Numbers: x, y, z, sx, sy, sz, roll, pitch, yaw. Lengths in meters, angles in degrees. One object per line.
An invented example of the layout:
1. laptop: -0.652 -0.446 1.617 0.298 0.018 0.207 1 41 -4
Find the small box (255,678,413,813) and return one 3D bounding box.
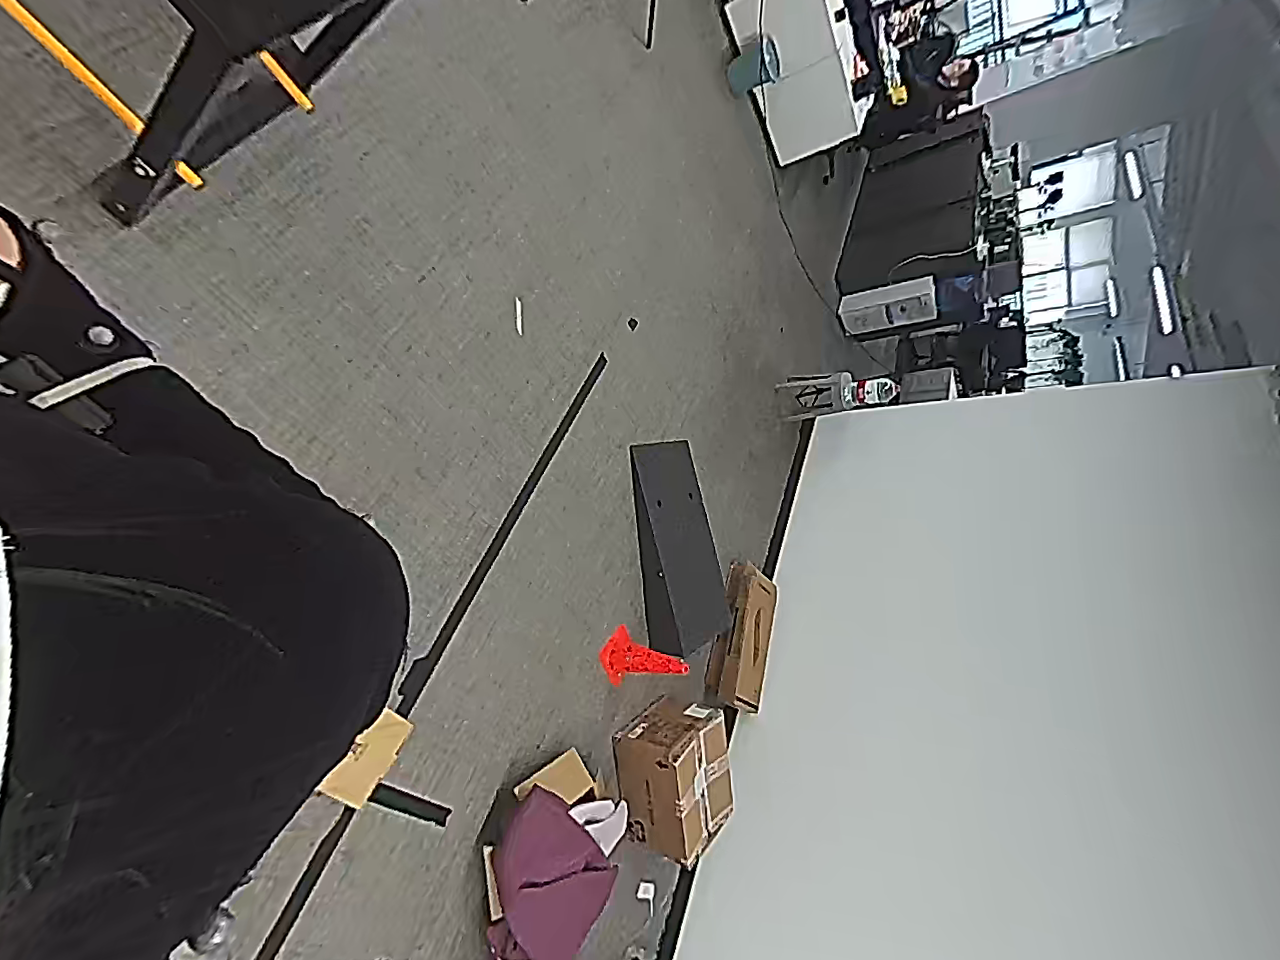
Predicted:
1. small box: -0.595 0.508 1.056 0.179 0.176 0.168 56 47 -33
